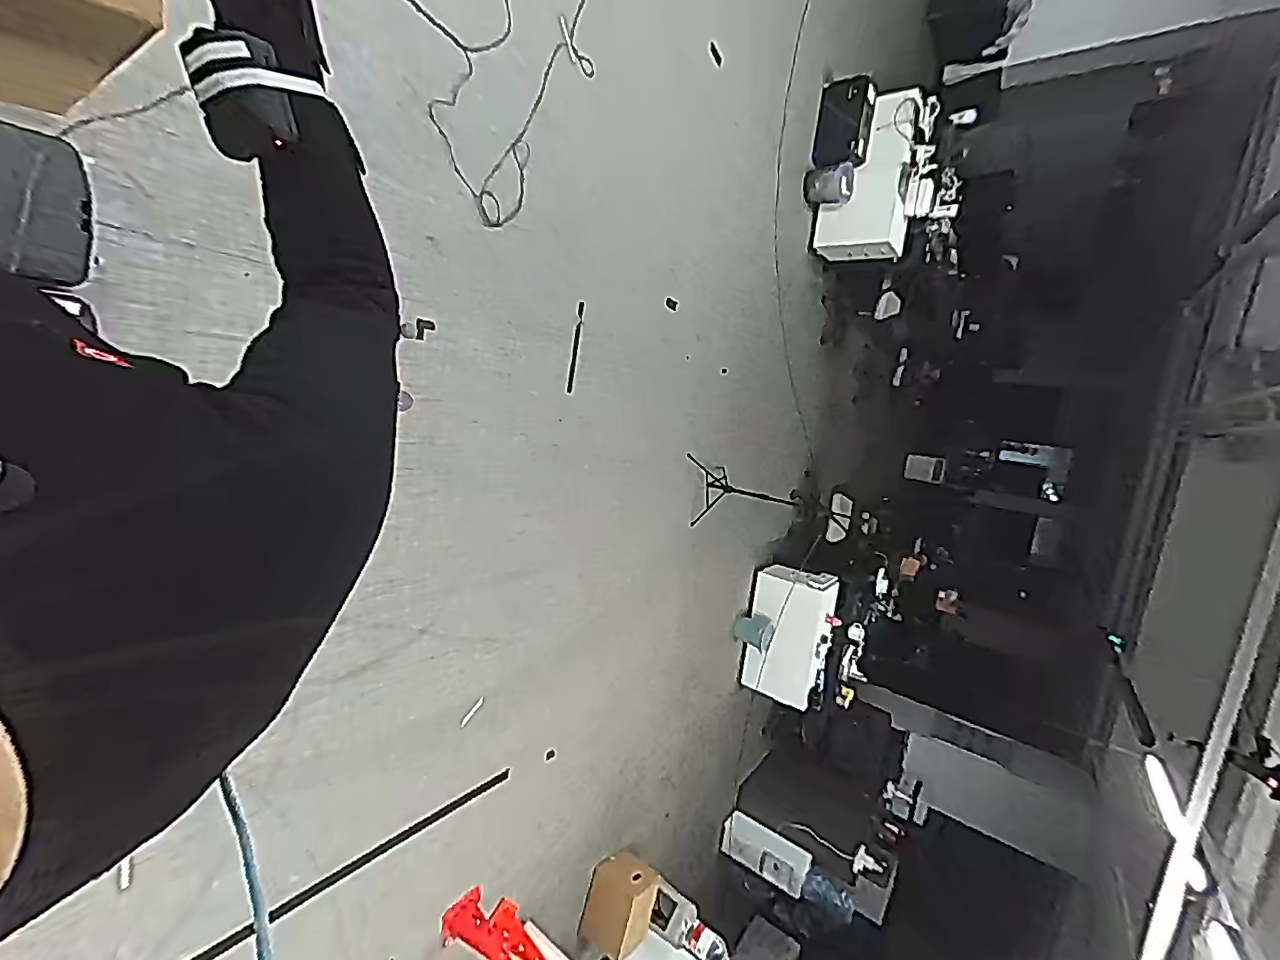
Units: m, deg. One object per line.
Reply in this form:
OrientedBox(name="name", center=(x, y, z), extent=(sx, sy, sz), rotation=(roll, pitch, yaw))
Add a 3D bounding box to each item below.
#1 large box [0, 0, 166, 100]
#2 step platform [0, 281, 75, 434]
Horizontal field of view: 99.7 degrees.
OrientedBox(name="large box", center=(-0.527, -0.439, 0.233), extent=(0.408, 0.320, 0.320), rotation=(-14, 114, -53))
OrientedBox(name="step platform", center=(-1.371, -0.219, 0.840), extent=(0.684, 0.204, 0.286), rotation=(-6, 105, -52))
